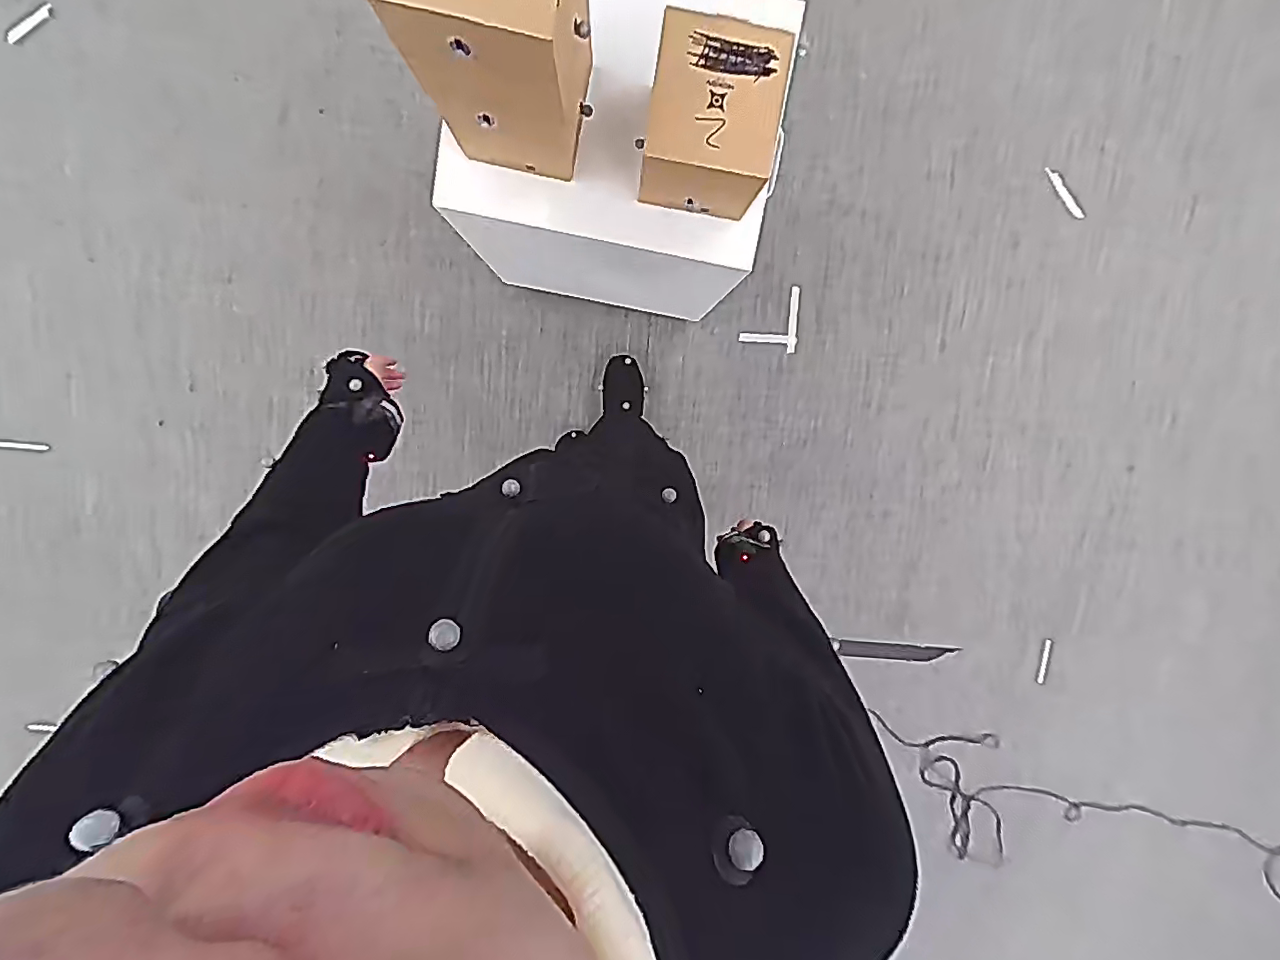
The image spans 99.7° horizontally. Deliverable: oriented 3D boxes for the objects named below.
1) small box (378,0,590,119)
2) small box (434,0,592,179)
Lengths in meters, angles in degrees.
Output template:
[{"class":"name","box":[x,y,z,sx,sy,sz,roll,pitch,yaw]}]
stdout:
[{"class":"small box","box":[-0.153,-0.517,0.566,0.179,0.176,0.168,10,99,-5]},{"class":"small box","box":[-0.159,-0.545,0.728,0.168,0.176,0.179,11,97,-4]}]
